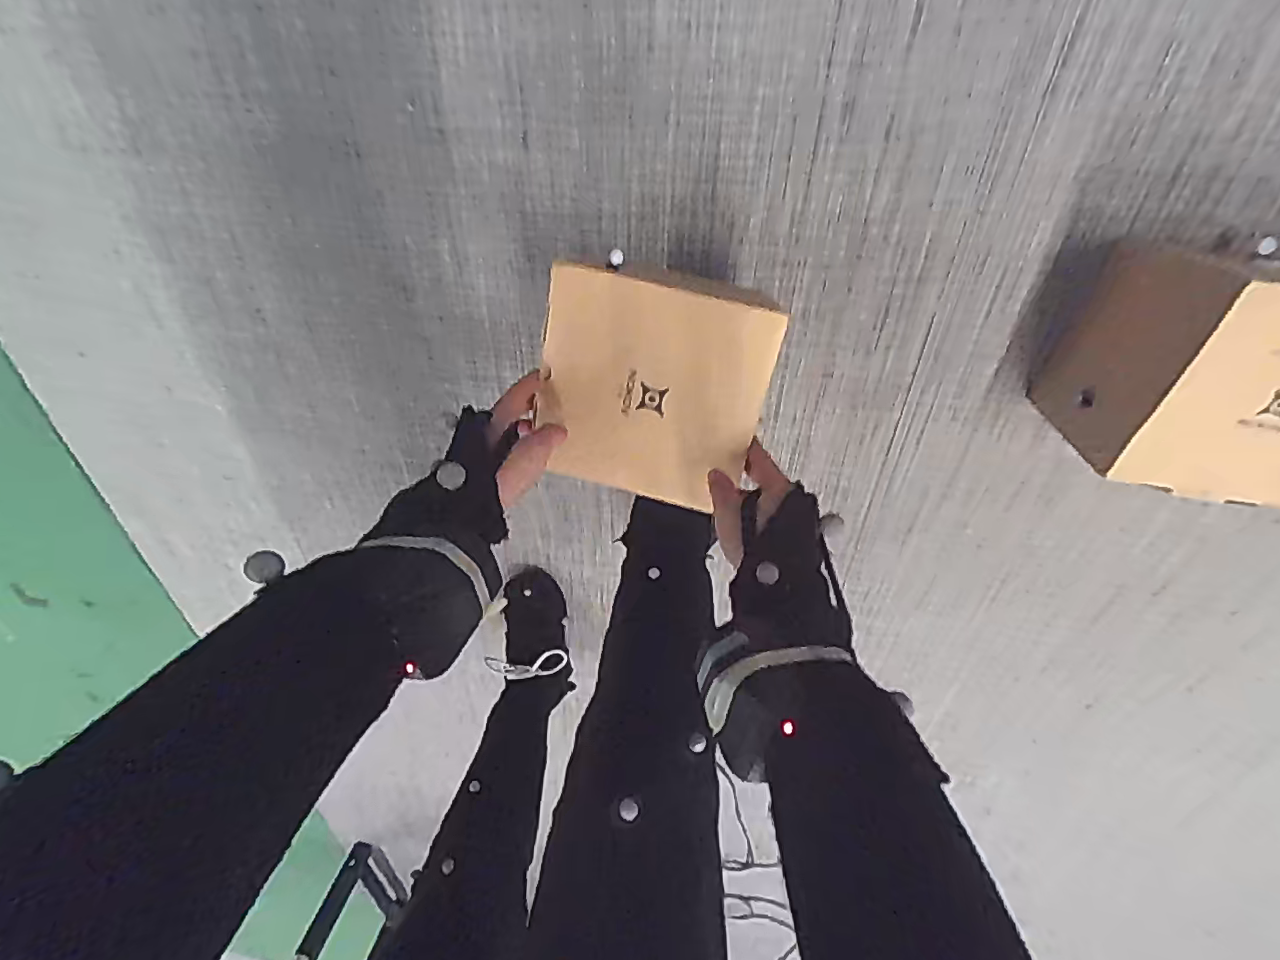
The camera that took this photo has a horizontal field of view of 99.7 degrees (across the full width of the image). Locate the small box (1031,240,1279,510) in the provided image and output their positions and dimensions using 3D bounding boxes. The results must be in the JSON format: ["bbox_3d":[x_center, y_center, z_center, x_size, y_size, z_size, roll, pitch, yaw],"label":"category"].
[{"bbox_3d":[0.505,-0.102,0.495,0.168,0.176,0.179,10,124,3],"label":"small box"}]

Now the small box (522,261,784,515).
[{"bbox_3d":[0.014,-0.094,0.485,0.179,0.176,0.168,15,114,4],"label":"small box"}]
